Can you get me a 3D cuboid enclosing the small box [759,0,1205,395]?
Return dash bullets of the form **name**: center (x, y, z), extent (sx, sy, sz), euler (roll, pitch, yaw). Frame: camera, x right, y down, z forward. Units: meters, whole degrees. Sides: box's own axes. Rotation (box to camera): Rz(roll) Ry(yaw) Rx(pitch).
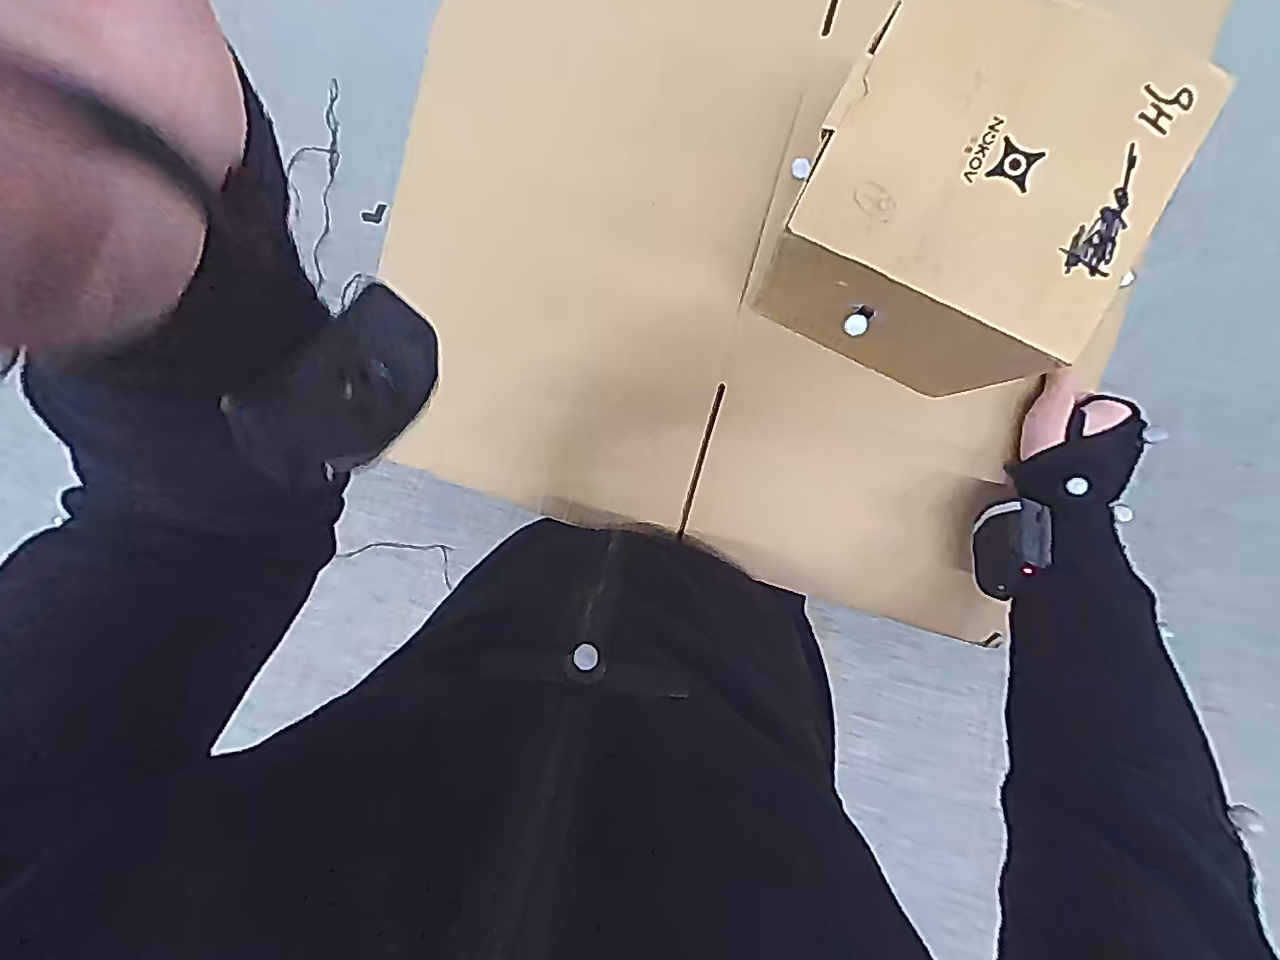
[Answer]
- **small box**: center (0.200, -0.171, 0.382), extent (0.179, 0.176, 0.168), euler (27, 95, 4)
